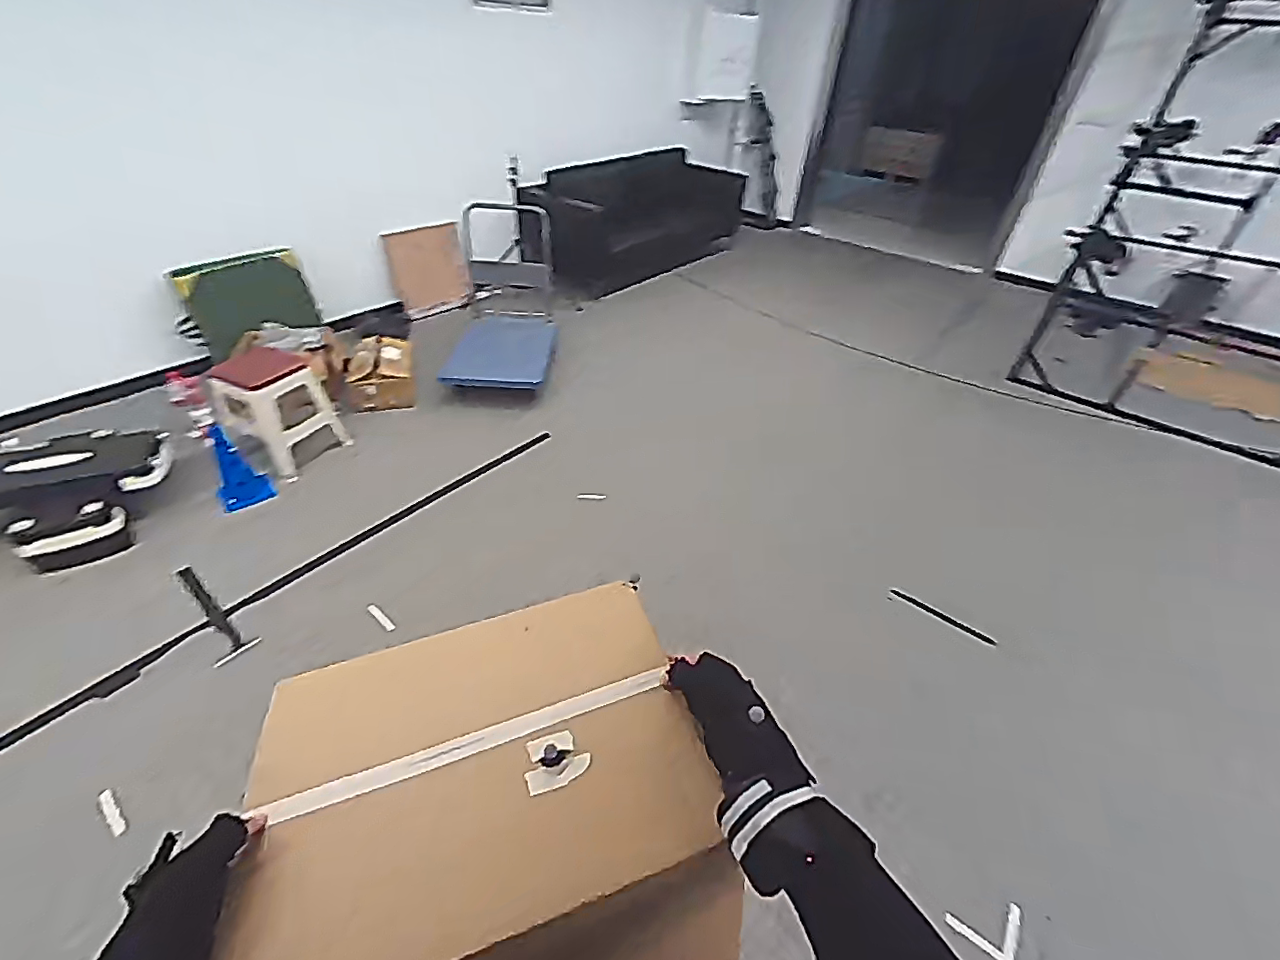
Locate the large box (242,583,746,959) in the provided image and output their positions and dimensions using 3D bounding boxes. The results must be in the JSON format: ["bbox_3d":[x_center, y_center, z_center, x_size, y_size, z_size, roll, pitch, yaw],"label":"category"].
[{"bbox_3d":[-0.131,0.379,0.611,0.408,0.320,0.320,-14,35,-13],"label":"large box"}]
